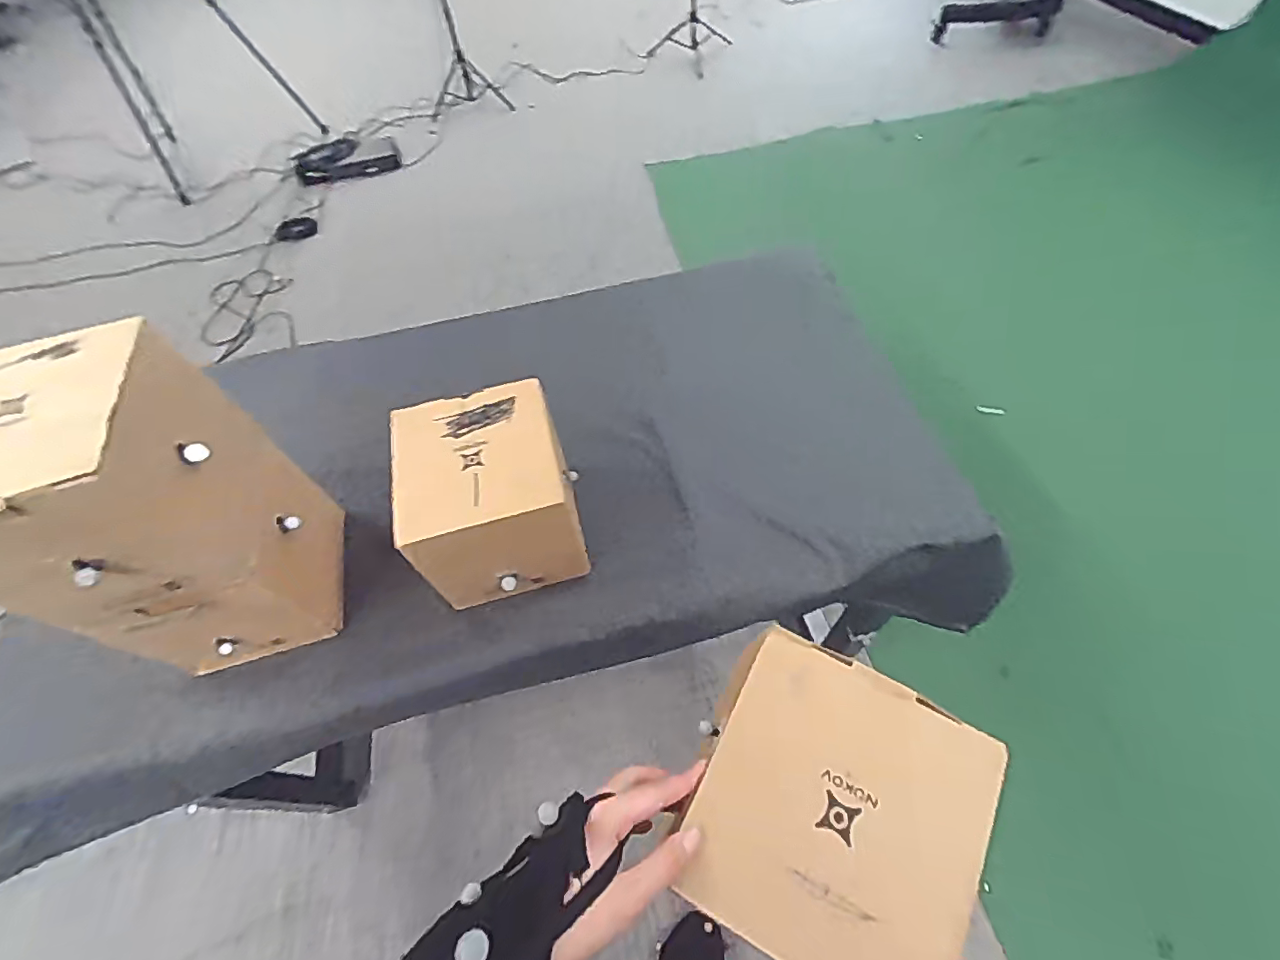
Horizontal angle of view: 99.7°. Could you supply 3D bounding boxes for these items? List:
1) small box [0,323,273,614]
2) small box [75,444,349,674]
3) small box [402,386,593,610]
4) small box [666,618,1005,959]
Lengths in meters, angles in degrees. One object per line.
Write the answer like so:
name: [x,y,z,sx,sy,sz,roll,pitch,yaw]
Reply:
small box: [-0.456,0.001,0.472,0.168,0.176,0.179,-17,57,-7]
small box: [-0.451,0.092,0.608,0.168,0.176,0.179,-16,56,-7]
small box: [-0.159,0.024,0.626,0.168,0.176,0.179,-15,56,-5]
small box: [0.125,0.234,0.403,0.168,0.176,0.179,25,66,14]
